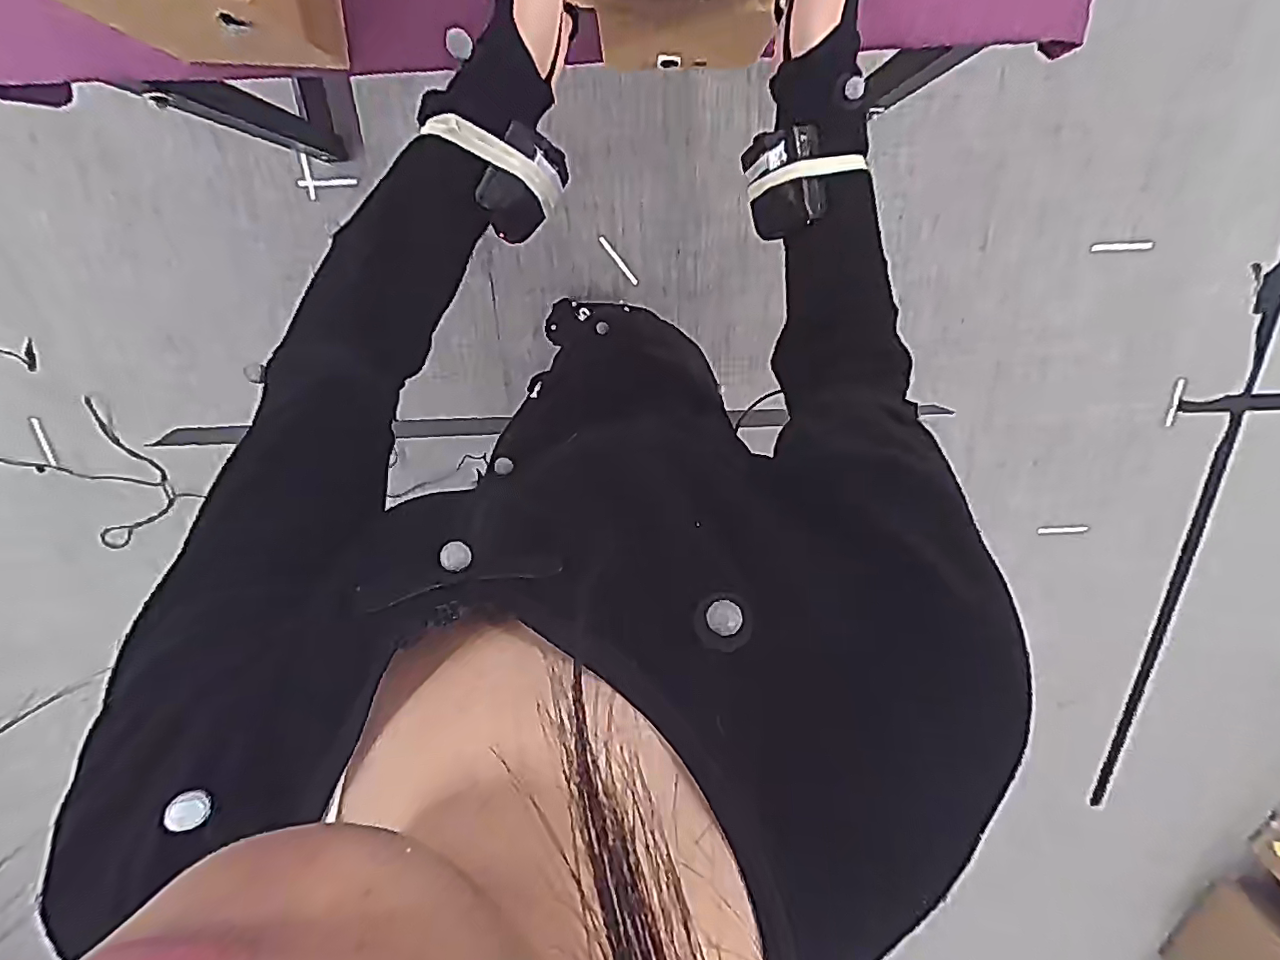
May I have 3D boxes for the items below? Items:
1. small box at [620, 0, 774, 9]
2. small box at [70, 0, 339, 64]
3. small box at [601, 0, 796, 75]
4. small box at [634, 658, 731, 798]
[{"bbox_3d":[0.033,-0.431,0.334,0.168,0.176,0.179,1,112,-1],"label":"small box"},{"bbox_3d":[-0.392,-0.495,0.476,0.179,0.176,0.168,1,111,-2],"label":"small box"},{"bbox_3d":[0.045,-0.500,0.490,0.168,0.176,0.179,-2,113,0],"label":"small box"},{"bbox_3d":[0.073,0.459,1.012,0.168,0.176,0.179,-2,112,-1],"label":"small box"}]
